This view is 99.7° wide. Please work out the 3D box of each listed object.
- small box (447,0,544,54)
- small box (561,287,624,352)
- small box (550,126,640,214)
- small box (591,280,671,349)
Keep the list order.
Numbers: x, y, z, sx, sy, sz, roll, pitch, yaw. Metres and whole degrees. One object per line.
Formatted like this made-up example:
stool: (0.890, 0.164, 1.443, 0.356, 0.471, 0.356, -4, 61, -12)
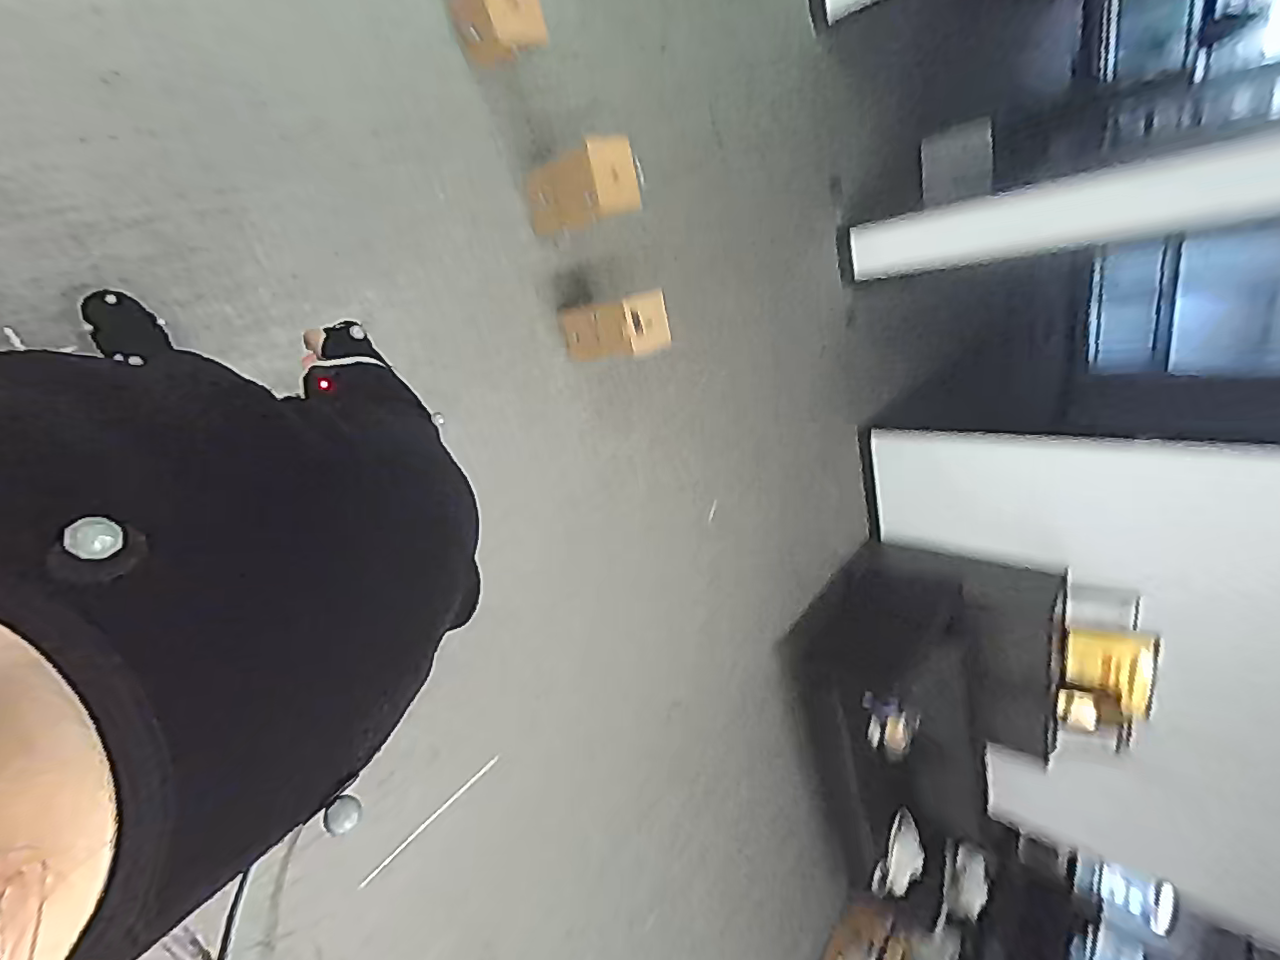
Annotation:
small box: (-0.394, -1.267, 1.440, 0.179, 0.176, 0.168, -37, 122, -35)
small box: (-0.145, -0.532, 1.805, 0.179, 0.176, 0.168, -32, 118, -36)
small box: (-0.131, -0.875, 1.531, 0.168, 0.176, 0.179, -31, 118, -37)
small box: (-0.034, -0.512, 1.685, 0.179, 0.176, 0.168, -32, 118, -38)
